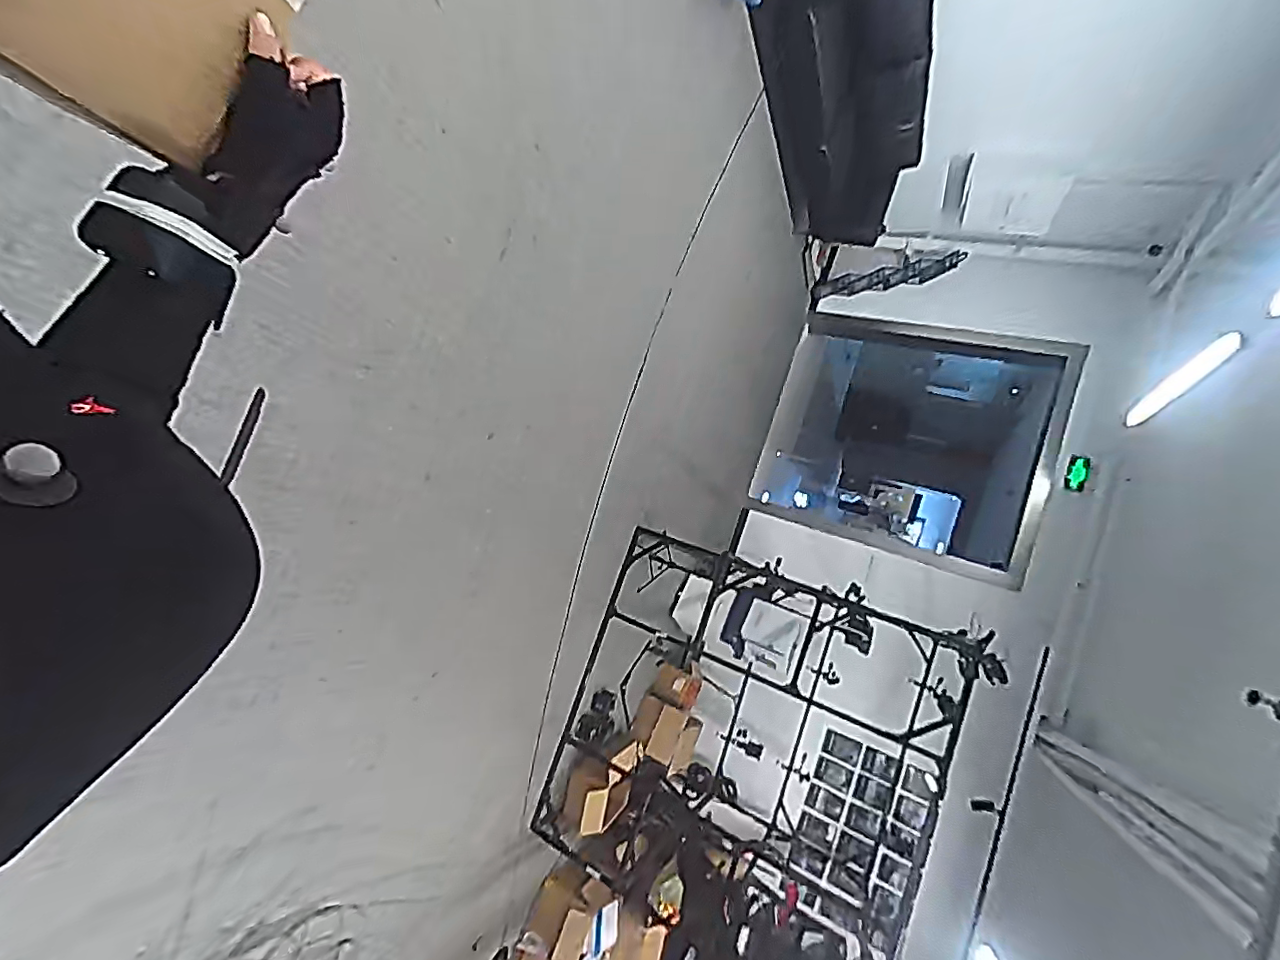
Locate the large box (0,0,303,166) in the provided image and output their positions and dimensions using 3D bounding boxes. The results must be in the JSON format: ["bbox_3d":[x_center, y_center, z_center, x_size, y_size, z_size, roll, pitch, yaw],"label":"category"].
[{"bbox_3d":[-0.452,-0.479,0.301,0.320,0.320,0.408,-58,155,1],"label":"large box"}]
